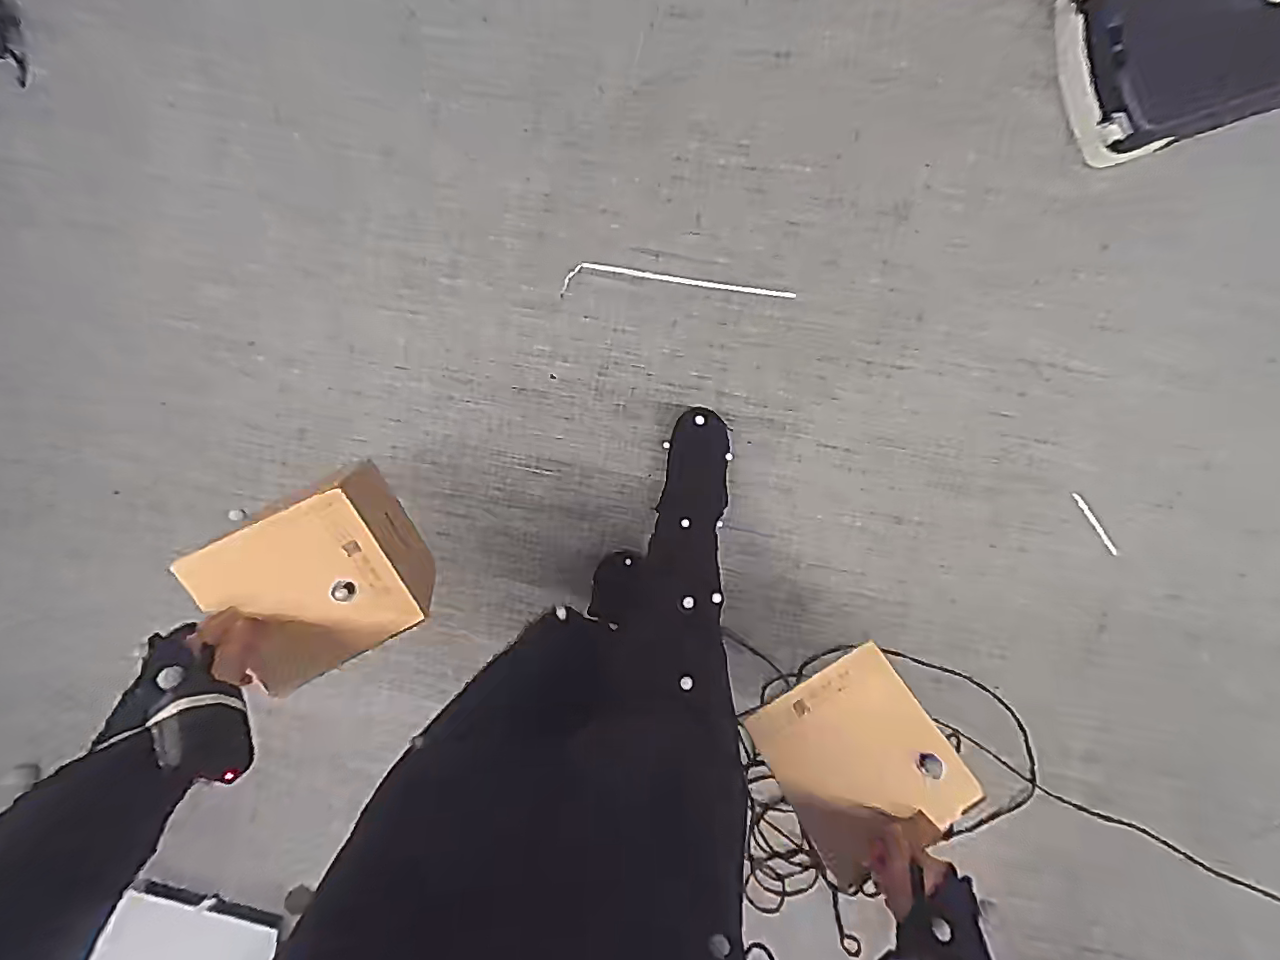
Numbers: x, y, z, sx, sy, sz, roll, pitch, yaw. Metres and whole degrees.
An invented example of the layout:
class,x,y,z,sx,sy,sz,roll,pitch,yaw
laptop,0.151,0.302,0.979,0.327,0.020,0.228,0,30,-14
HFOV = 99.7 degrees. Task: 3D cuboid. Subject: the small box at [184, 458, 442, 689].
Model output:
class,x,y,z,sx,sy,sz,roll,pitch,yaw
small box,-0.338,0.089,0.609,0.176,0.179,0.168,-26,107,-10
